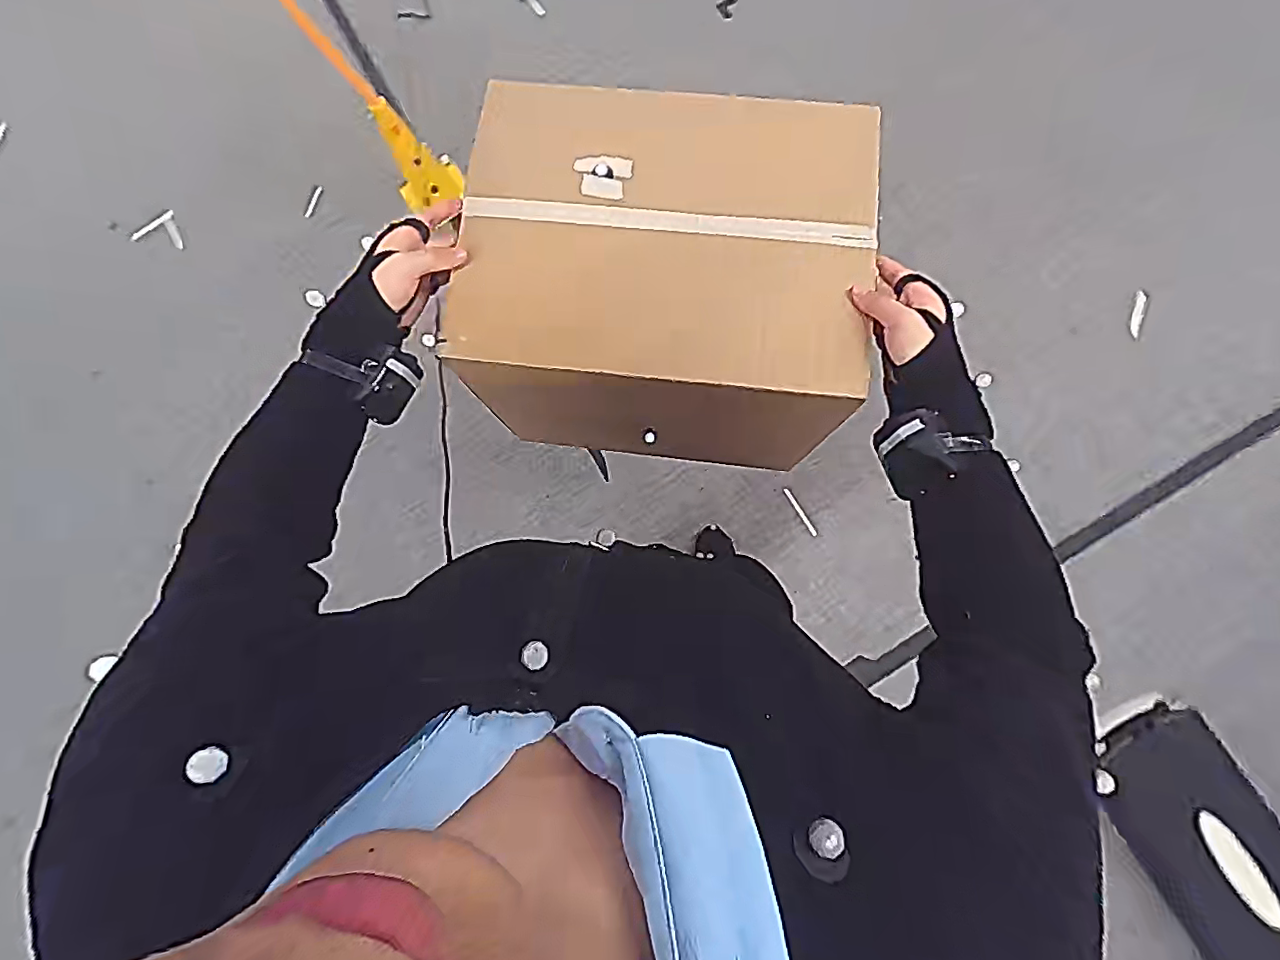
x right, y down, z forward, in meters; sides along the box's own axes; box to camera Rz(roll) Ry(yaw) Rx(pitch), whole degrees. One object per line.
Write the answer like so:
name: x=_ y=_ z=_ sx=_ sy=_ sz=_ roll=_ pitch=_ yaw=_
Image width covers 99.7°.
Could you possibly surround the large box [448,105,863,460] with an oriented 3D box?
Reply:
large box: x=0.030 y=-0.215 z=0.687 sx=0.408 sy=0.320 sz=0.320 roll=4 pitch=78 yaw=4
